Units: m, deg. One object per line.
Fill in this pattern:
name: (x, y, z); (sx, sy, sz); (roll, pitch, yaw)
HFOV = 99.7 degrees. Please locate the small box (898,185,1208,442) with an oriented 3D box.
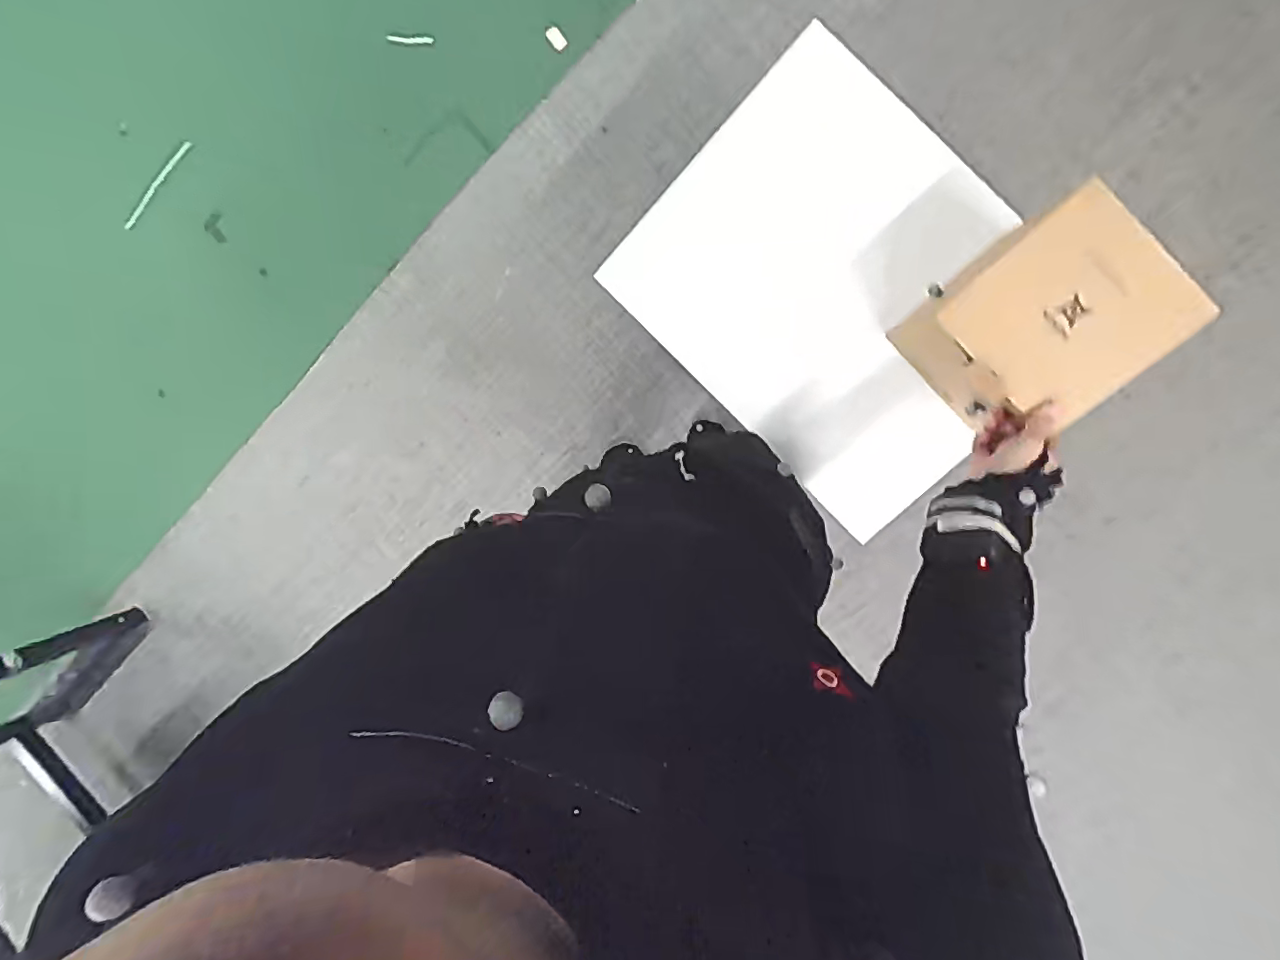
small box: (0.406, -0.160, 0.578); (0.179, 0.176, 0.168); (-42, 90, 12)
